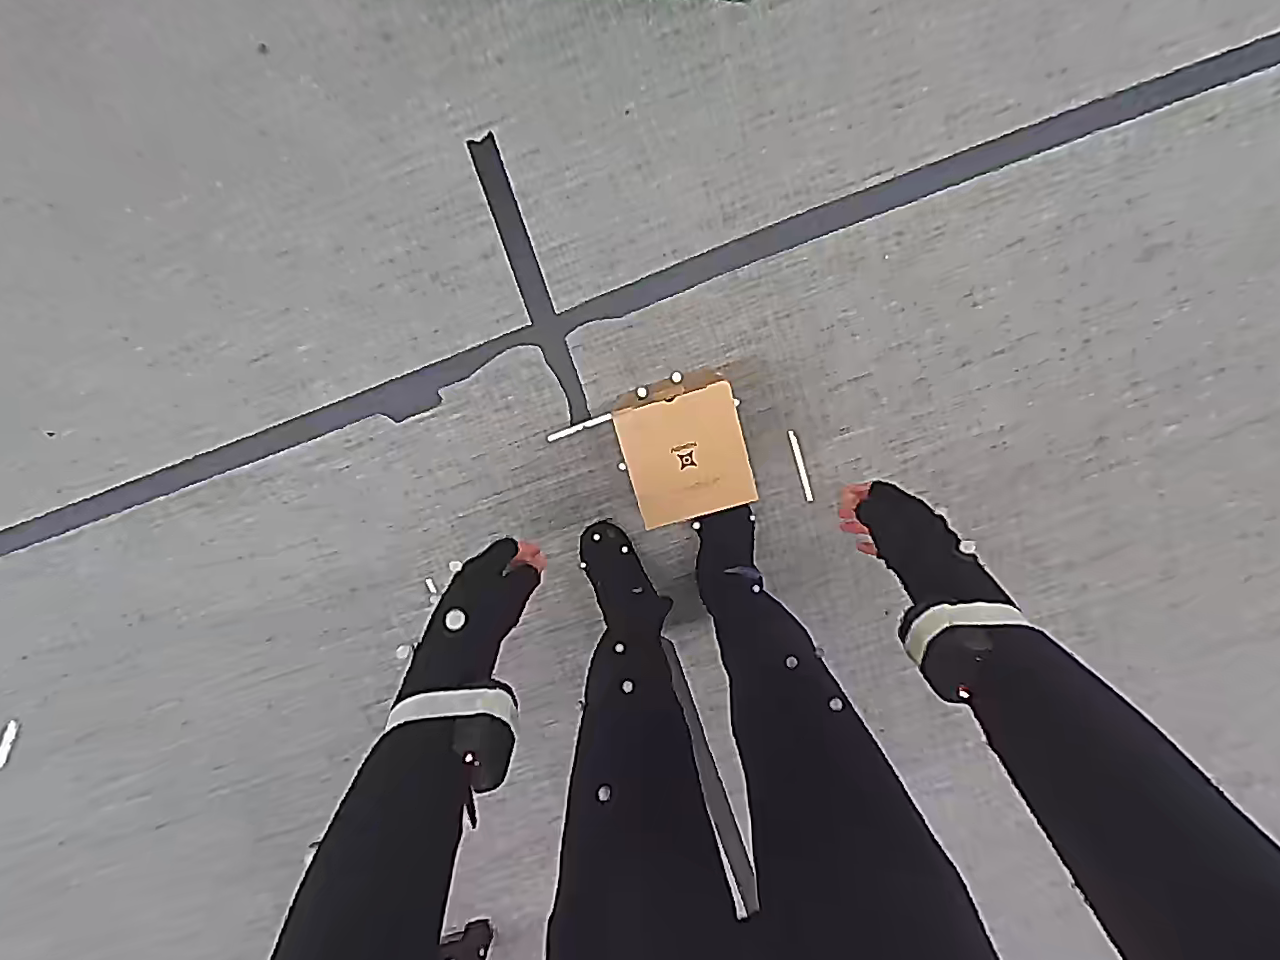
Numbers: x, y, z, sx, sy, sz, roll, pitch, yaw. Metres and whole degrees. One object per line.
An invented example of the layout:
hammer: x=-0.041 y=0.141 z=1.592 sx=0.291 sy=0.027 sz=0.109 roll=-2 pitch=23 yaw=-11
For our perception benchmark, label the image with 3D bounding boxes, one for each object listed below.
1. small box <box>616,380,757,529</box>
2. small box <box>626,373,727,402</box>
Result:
small box: x=0.066 y=-0.049 z=0.822 sx=0.168 sy=0.176 sz=0.179 roll=-15 pitch=104 yaw=5
small box: x=0.075 y=-0.093 z=0.979 sx=0.179 sy=0.176 sz=0.168 roll=-15 pitch=102 yaw=3
